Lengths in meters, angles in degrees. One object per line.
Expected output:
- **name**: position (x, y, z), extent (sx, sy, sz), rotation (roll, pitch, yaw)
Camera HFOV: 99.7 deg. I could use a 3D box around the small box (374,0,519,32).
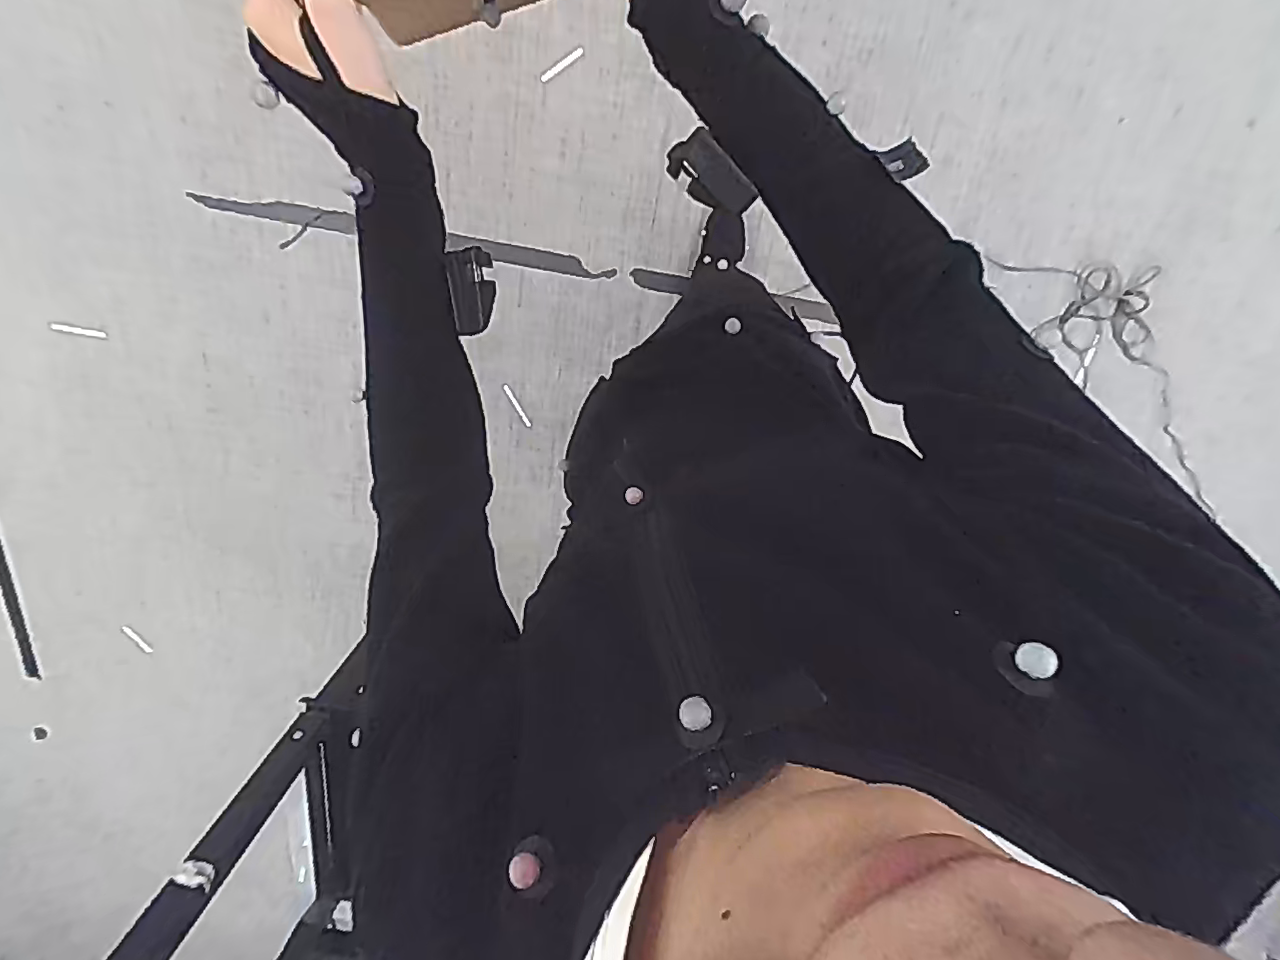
- **small box**: position (-0.134, -0.443, 0.357), extent (0.179, 0.176, 0.168), rotation (-19, 115, -2)
